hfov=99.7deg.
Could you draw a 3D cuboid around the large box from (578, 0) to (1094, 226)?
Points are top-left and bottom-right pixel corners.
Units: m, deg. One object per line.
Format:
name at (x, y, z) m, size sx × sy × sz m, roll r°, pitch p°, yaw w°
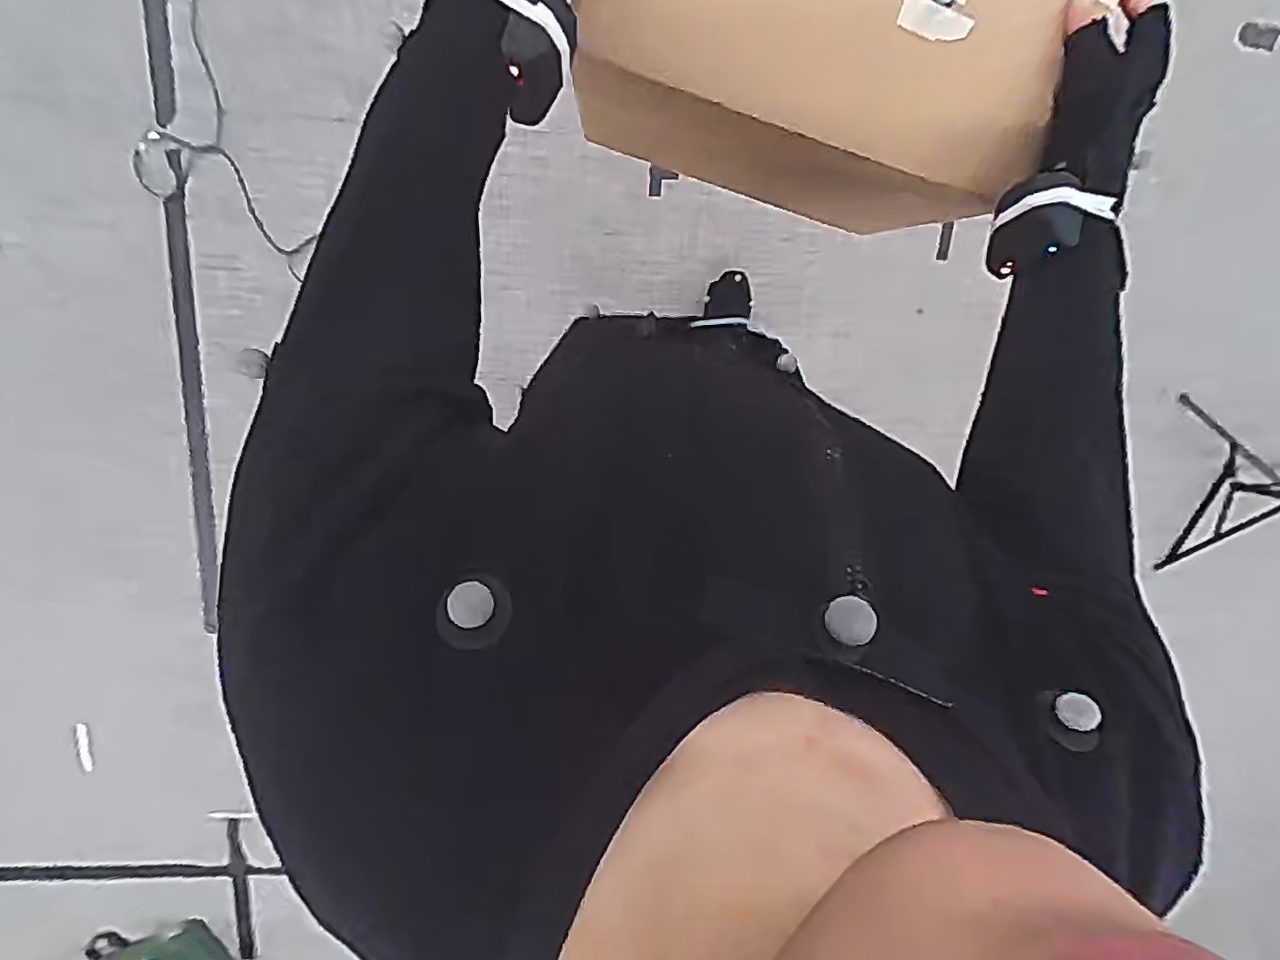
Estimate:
large box at (0.167, -0.485, 0.550) m, size 0.408 × 0.320 × 0.320 m, roll 14°, pitch 111°, yaw -9°
